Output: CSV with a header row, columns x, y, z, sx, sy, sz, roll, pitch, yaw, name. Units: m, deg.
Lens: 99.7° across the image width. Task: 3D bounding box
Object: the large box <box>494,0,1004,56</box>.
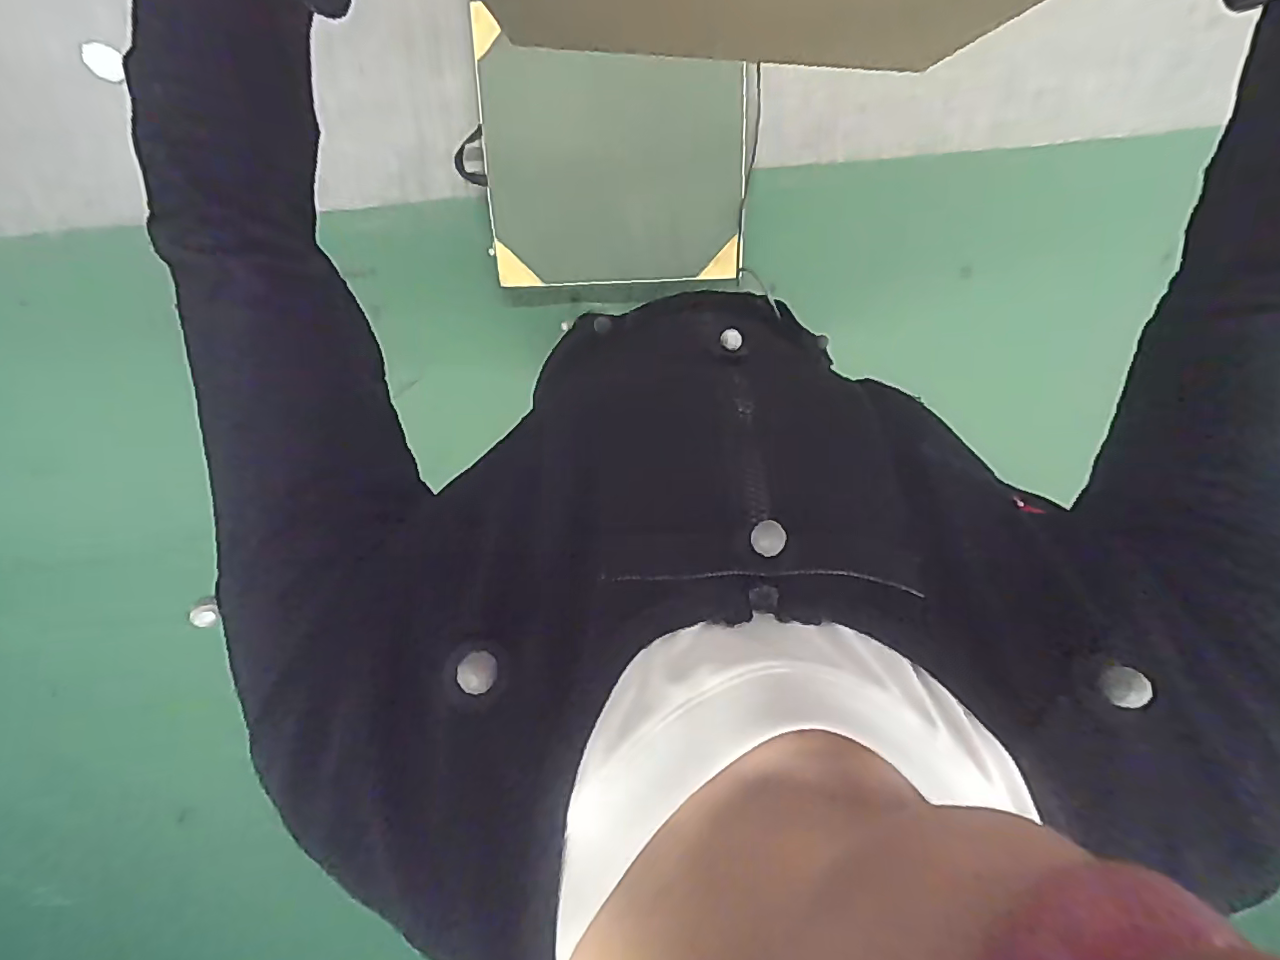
x,y,z,sx,sy,sz,roll,pitch,yaw,name
0.082,-0.491,0.323,0.408,0.320,0.320,2,115,-2,large box
